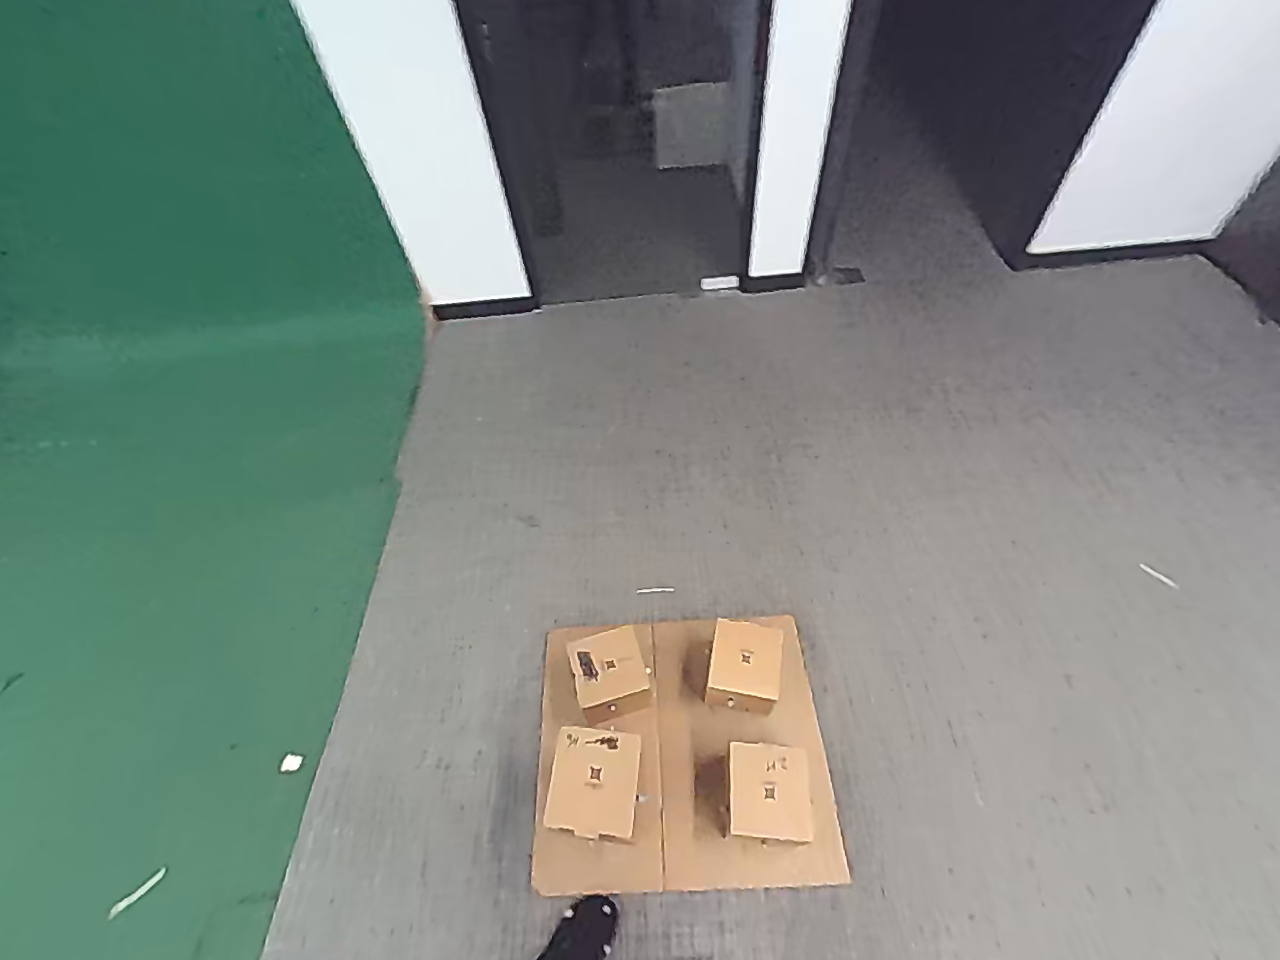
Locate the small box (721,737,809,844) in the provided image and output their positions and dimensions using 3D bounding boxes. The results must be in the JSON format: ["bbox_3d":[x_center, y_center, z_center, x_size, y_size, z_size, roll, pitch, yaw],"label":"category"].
[{"bbox_3d":[0.268,0.683,1.185,0.168,0.176,0.179,3,53,6],"label":"small box"}]

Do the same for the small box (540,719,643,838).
[{"bbox_3d":[-0.085,0.597,1.076,0.168,0.176,0.179,5,54,6],"label":"small box"}]

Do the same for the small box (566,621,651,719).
[{"bbox_3d":[-0.077,0.484,1.366,0.179,0.176,0.168,-14,54,-7],"label":"small box"}]
